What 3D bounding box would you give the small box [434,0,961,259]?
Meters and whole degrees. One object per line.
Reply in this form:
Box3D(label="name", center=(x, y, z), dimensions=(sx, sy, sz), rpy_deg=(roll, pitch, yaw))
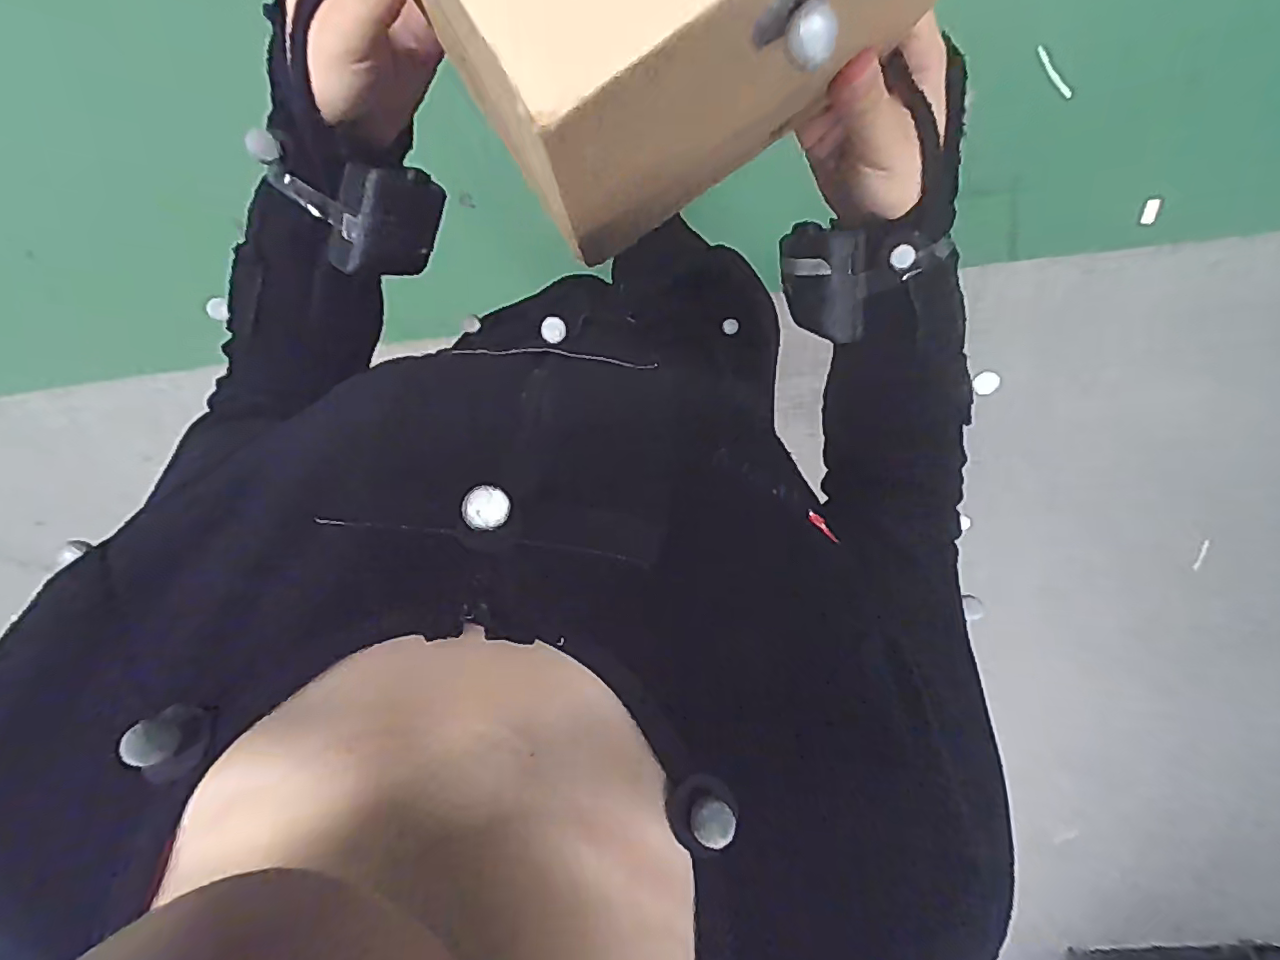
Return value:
Box3D(label="small box", center=(0.008, -0.201, 0.170), dimensions=(0.168, 0.176, 0.179), rpy_deg=(-34, 101, 6))
